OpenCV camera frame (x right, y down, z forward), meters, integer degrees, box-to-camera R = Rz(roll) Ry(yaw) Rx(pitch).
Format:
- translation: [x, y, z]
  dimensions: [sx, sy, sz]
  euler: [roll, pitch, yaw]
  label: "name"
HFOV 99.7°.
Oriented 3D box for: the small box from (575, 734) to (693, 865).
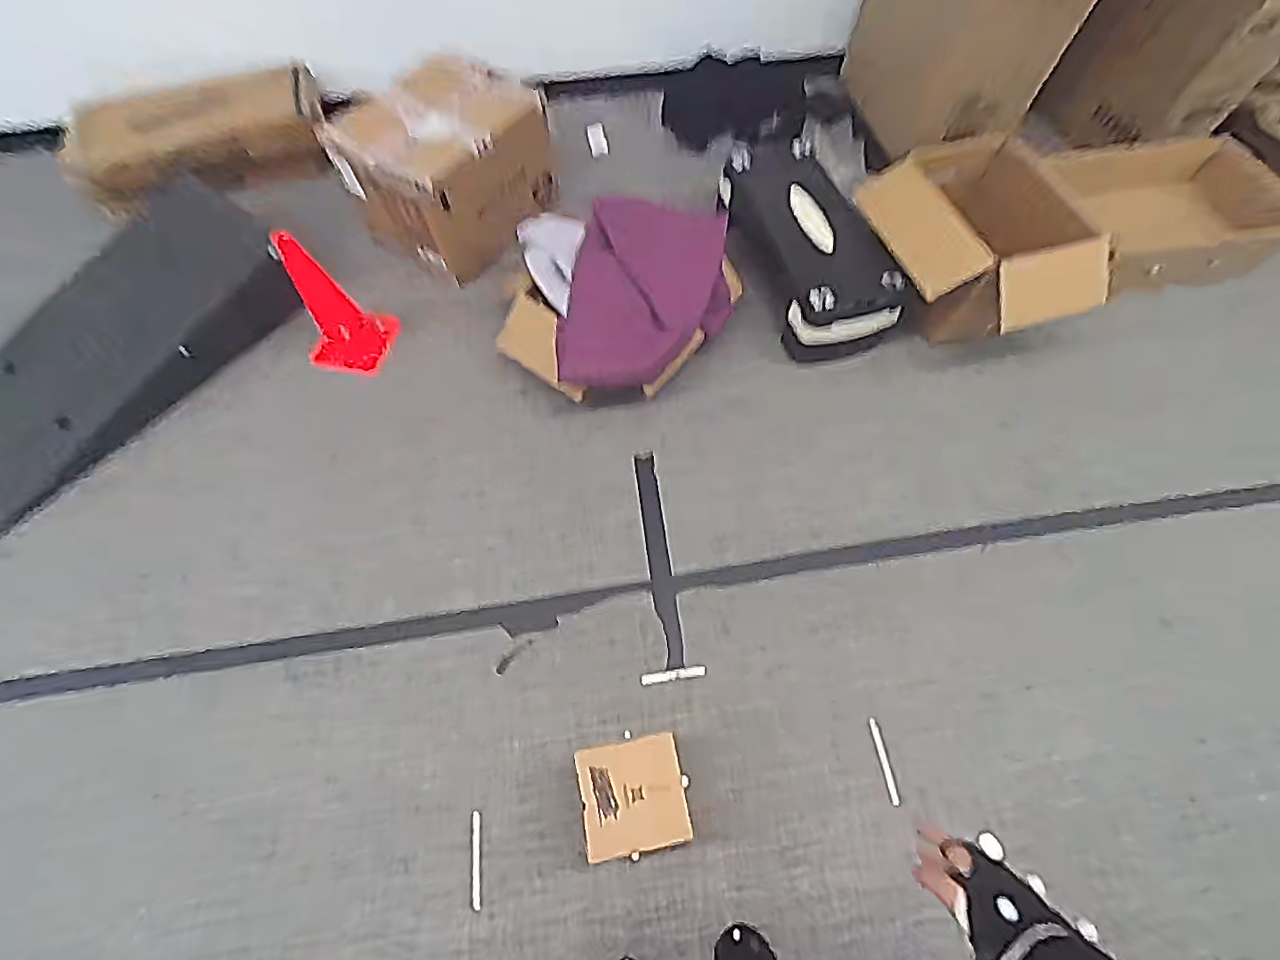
- translation: [-0.011, 0.566, 0.972]
  dimensions: [0.179, 0.176, 0.168]
  euler: [-10, 64, -5]
  label: "small box"
